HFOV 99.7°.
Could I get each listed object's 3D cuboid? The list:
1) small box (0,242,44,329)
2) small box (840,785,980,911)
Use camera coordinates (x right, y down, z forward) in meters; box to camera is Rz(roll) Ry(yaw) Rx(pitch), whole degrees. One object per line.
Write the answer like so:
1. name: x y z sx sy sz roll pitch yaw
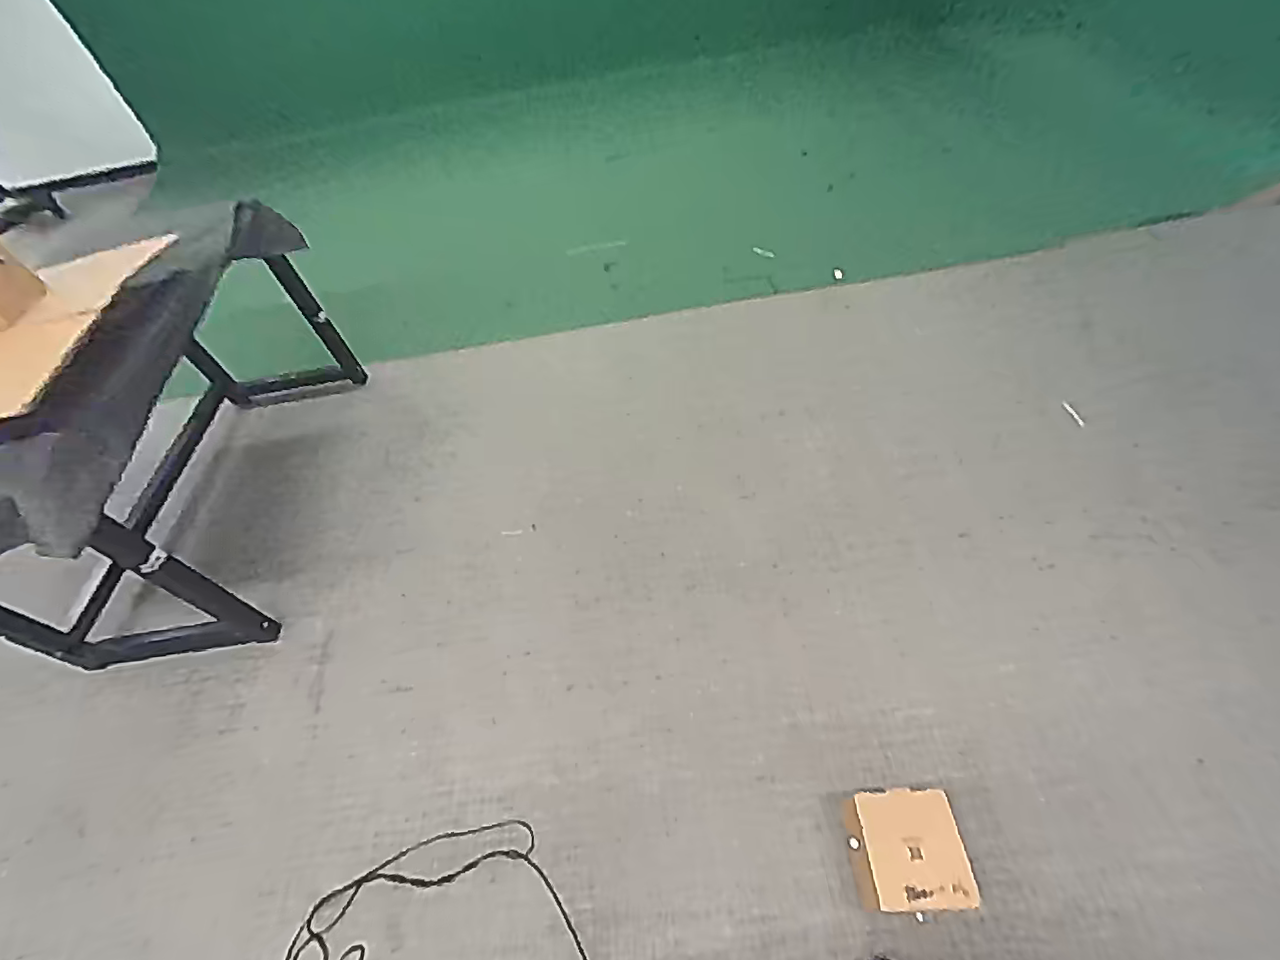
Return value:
1. small box: -1.444 -0.420 1.141 0.168 0.176 0.179 -18 50 -1
2. small box: 0.486 0.688 1.009 0.168 0.176 0.179 -6 50 4
